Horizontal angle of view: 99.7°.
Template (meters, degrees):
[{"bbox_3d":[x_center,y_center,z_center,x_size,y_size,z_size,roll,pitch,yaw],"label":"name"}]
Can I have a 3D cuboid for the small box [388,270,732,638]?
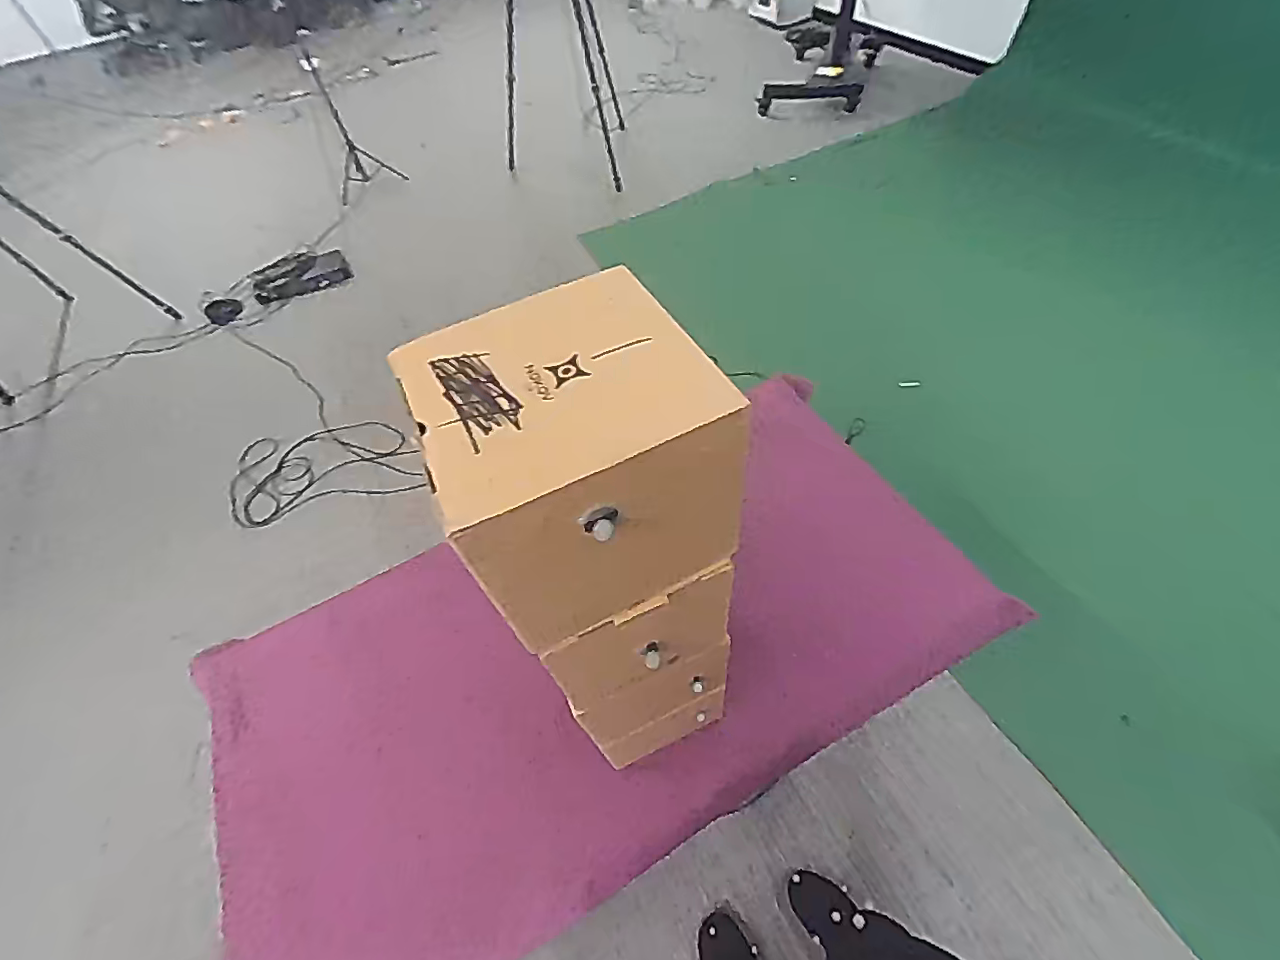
[{"bbox_3d":[-0.049,-0.014,0.392,0.179,0.176,0.168,-24,54,-12],"label":"small box"}]

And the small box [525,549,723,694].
[{"bbox_3d":[-0.032,0.085,0.523,0.168,0.176,0.179,-23,55,-10],"label":"small box"}]

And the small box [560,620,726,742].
[{"bbox_3d":[-0.014,0.186,0.650,0.179,0.176,0.168,-23,54,-10],"label":"small box"}]
